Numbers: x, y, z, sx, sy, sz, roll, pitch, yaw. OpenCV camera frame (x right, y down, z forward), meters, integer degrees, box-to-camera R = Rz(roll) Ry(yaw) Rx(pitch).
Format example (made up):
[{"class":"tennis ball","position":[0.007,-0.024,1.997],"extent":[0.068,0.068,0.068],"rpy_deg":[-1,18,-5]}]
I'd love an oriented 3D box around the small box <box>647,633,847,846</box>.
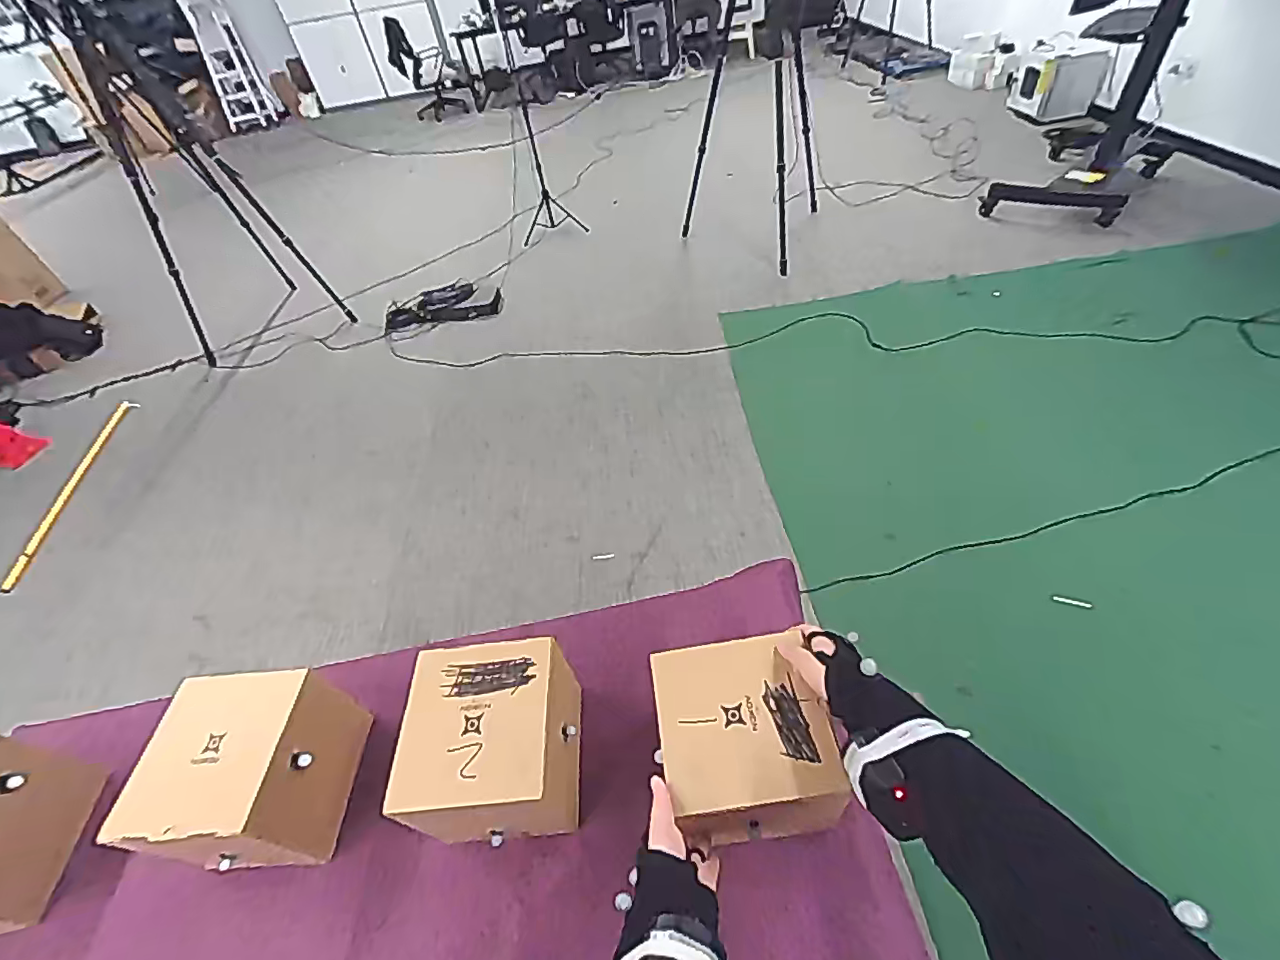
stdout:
[{"class":"small box","position":[0.112,0.297,0.614],"extent":[0.179,0.176,0.168],"rpy_deg":[-11,46,3]}]

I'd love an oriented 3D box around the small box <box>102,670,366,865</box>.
[{"class":"small box","position":[-0.473,0.358,0.671],"extent":[0.168,0.176,0.179],"rpy_deg":[-6,48,5]}]

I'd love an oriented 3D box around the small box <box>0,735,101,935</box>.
[{"class":"small box","position":[-0.832,0.441,0.656],"extent":[0.168,0.176,0.179],"rpy_deg":[-11,47,0]}]
